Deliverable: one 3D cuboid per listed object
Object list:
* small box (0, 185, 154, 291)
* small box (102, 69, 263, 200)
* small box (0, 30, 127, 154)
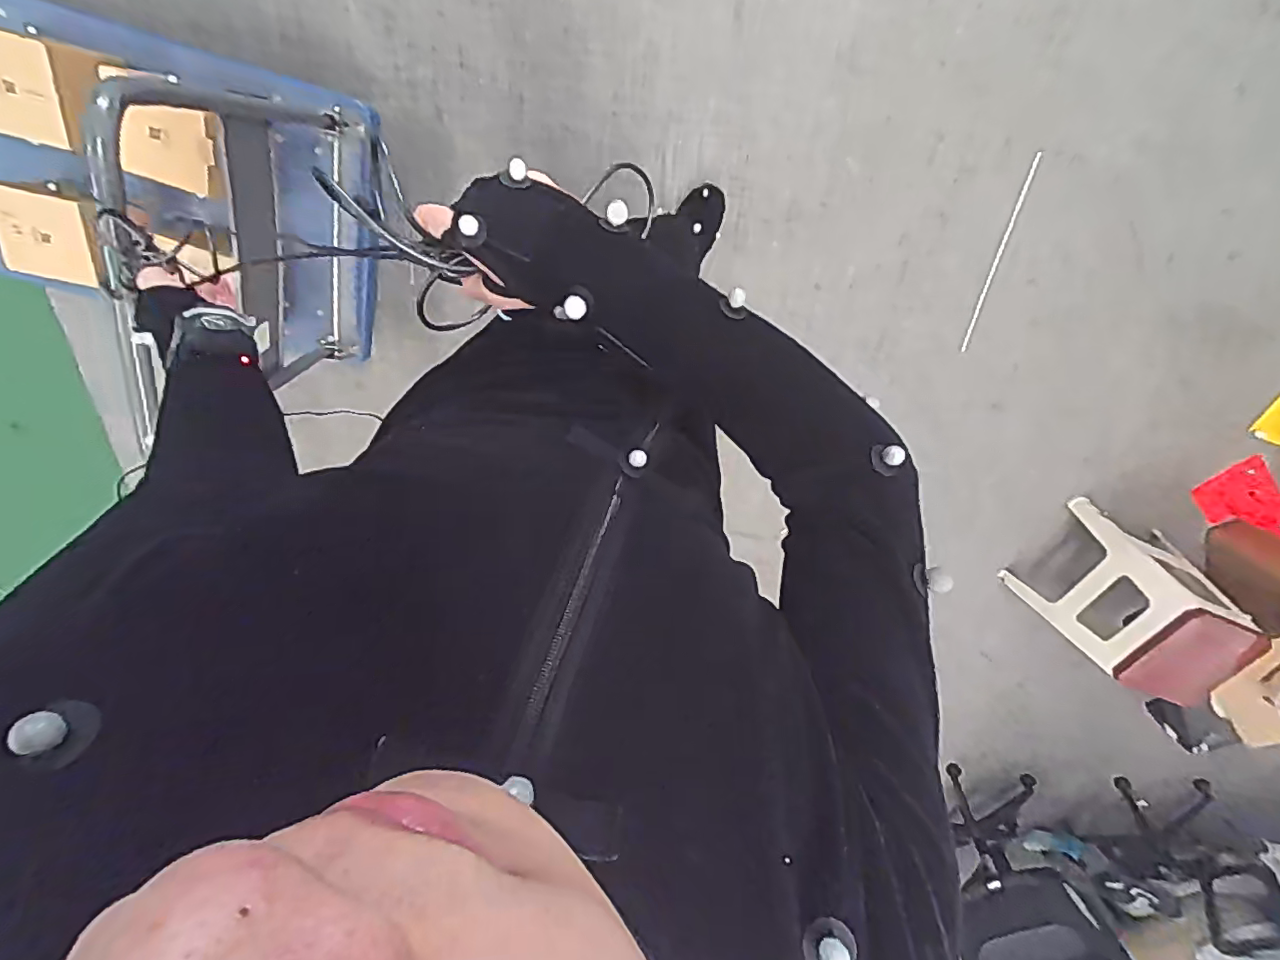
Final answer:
[{"bbox_3d":[-1.188,-0.518,1.148,0.179,0.176,0.168,11,119,-6],"label":"small box"},{"bbox_3d":[-0.883,-0.667,1.062,0.179,0.176,0.168,15,119,-10],"label":"small box"},{"bbox_3d":[-1.117,-0.730,1.023,0.179,0.176,0.168,12,120,-8],"label":"small box"}]
